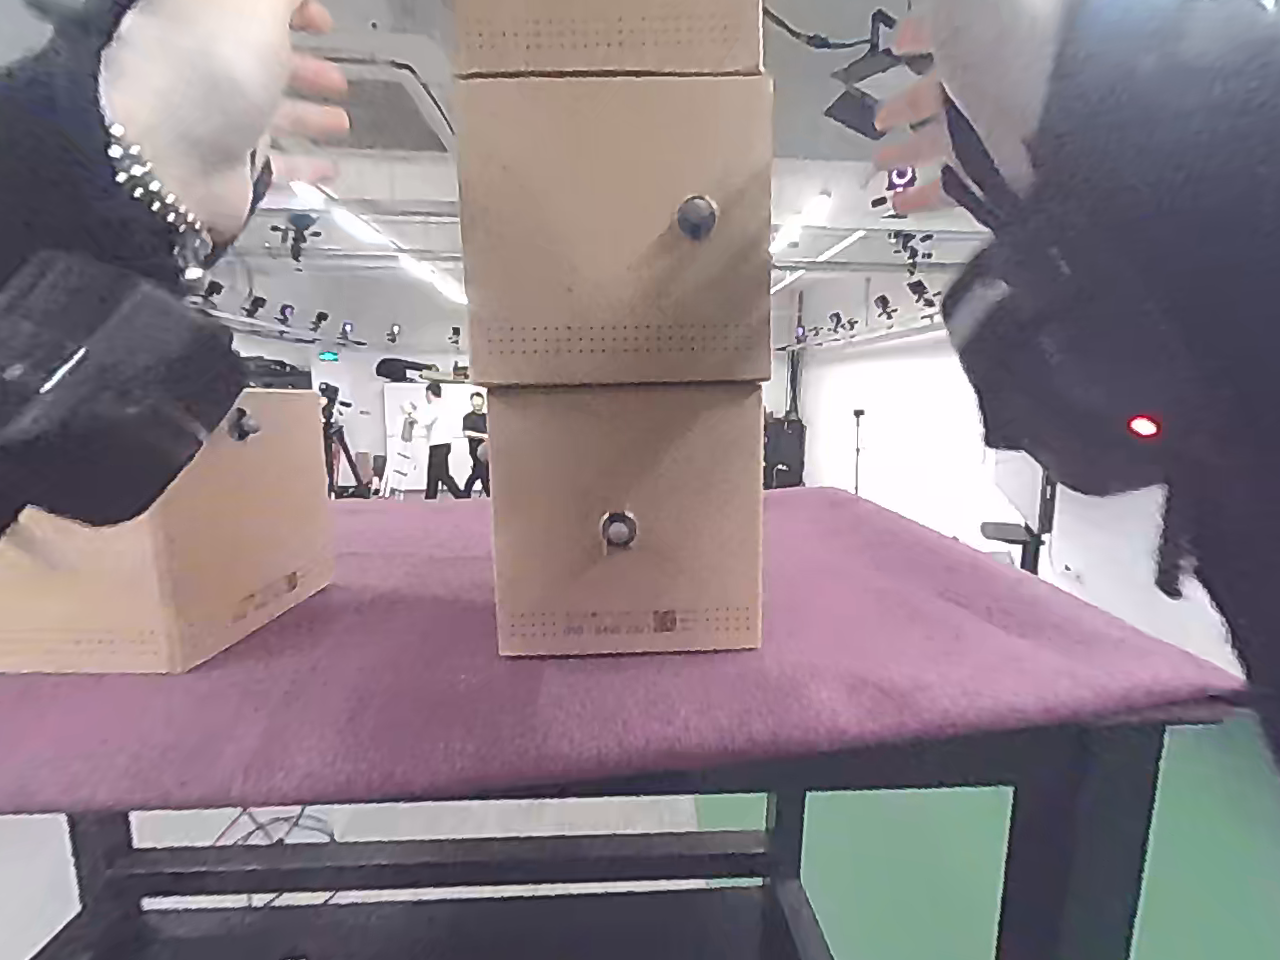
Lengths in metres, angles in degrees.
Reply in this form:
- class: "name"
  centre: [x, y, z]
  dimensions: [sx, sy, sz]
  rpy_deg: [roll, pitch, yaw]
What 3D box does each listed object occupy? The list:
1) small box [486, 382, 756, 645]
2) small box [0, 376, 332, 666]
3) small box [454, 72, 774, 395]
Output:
- class: "small box"
  centre: [-0.011, 0.016, 0.413]
  dimensions: [0.168, 0.176, 0.179]
  rpy_deg: [0, 7, -2]
- class: "small box"
  centre: [-0.351, 0.017, 0.383]
  dimensions: [0.179, 0.176, 0.168]
  rpy_deg: [0, 9, -1]
- class: "small box"
  centre: [-0.014, -0.143, 0.378]
  dimensions: [0.179, 0.176, 0.168]
  rpy_deg: [-2, 6, -2]
